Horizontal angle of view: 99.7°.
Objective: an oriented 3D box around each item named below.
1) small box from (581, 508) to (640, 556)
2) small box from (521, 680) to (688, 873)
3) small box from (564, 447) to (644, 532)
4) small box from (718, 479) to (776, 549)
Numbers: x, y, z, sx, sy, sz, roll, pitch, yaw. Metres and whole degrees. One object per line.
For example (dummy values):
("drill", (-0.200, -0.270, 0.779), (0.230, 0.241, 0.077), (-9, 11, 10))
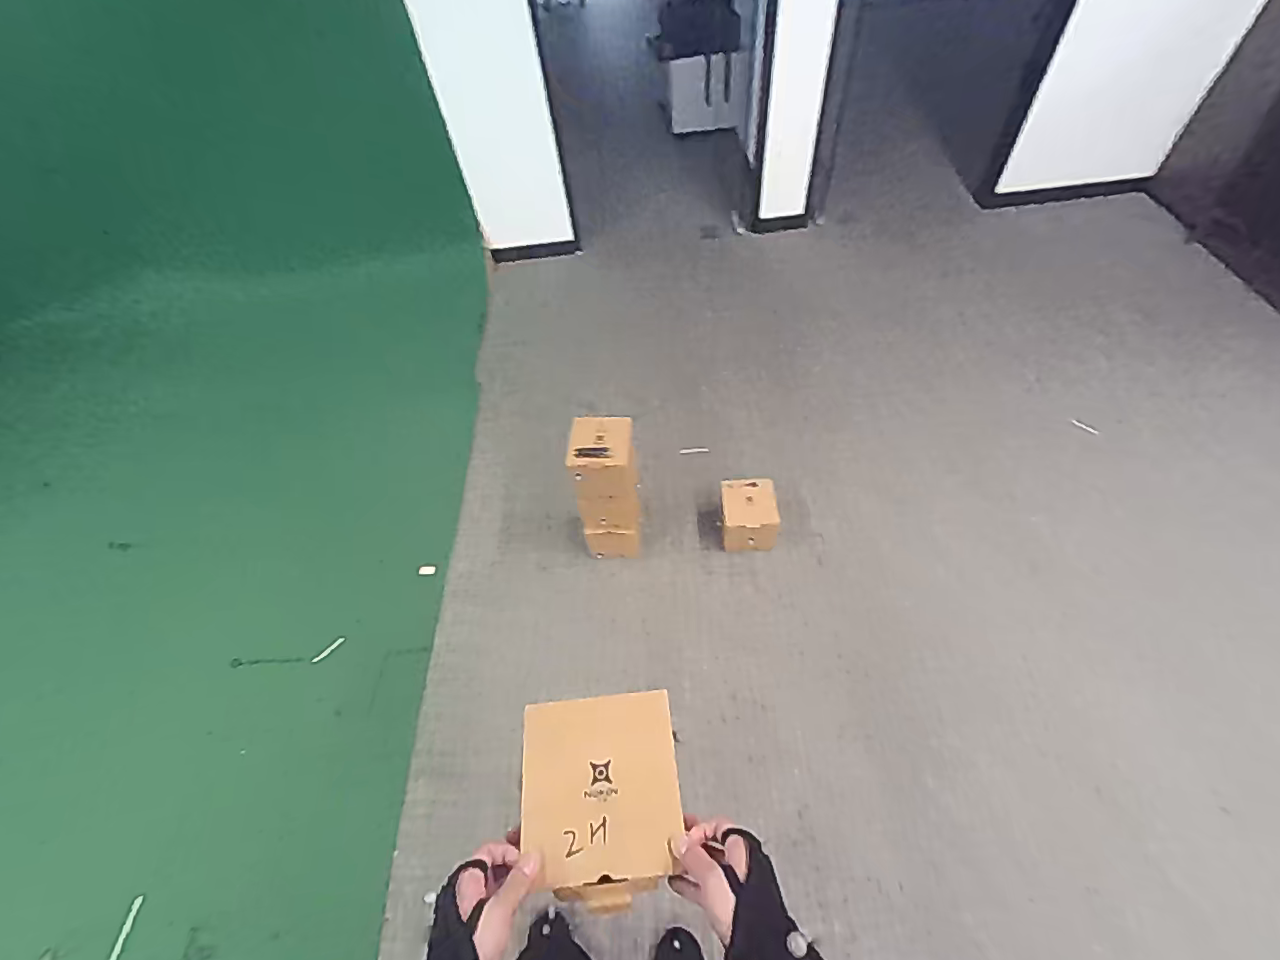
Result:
("small box", (-0.091, 0.140, 1.792), (0.168, 0.176, 0.179), (0, 53, 5))
("small box", (-0.037, 0.352, 0.638), (0.168, 0.176, 0.179), (-4, 55, -1))
("small box", (-0.105, 0.034, 1.679), (0.179, 0.176, 0.168), (27, 63, 23))
("small box", (0.344, 0.117, 1.767), (0.168, 0.176, 0.179), (-2, 55, 4))
